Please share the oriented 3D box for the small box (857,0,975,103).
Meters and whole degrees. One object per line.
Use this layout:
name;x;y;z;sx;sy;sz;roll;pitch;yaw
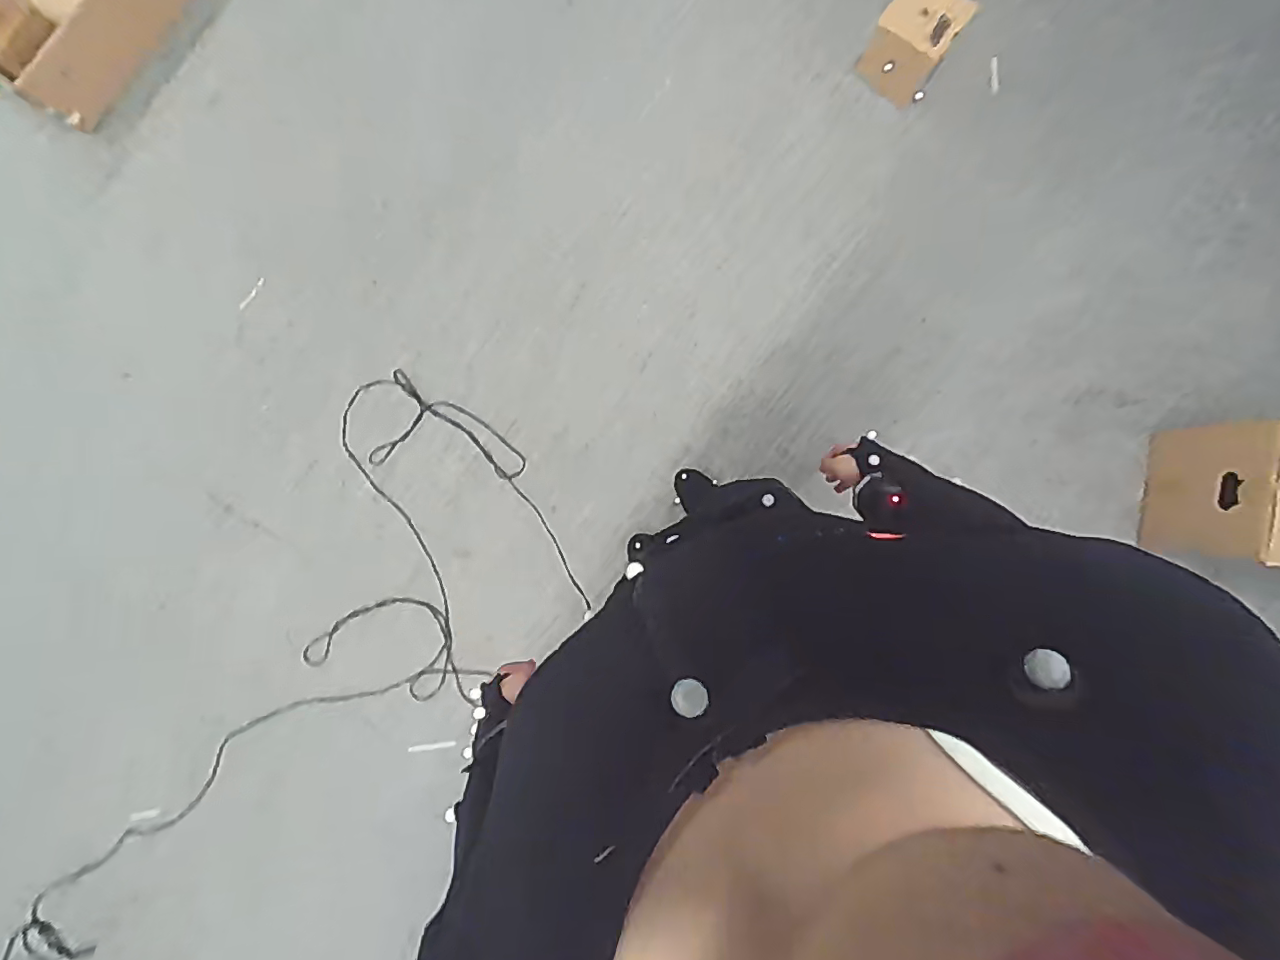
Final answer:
small box;0.698;-1.120;1.389;0.179;0.176;0.168;39;92;2
